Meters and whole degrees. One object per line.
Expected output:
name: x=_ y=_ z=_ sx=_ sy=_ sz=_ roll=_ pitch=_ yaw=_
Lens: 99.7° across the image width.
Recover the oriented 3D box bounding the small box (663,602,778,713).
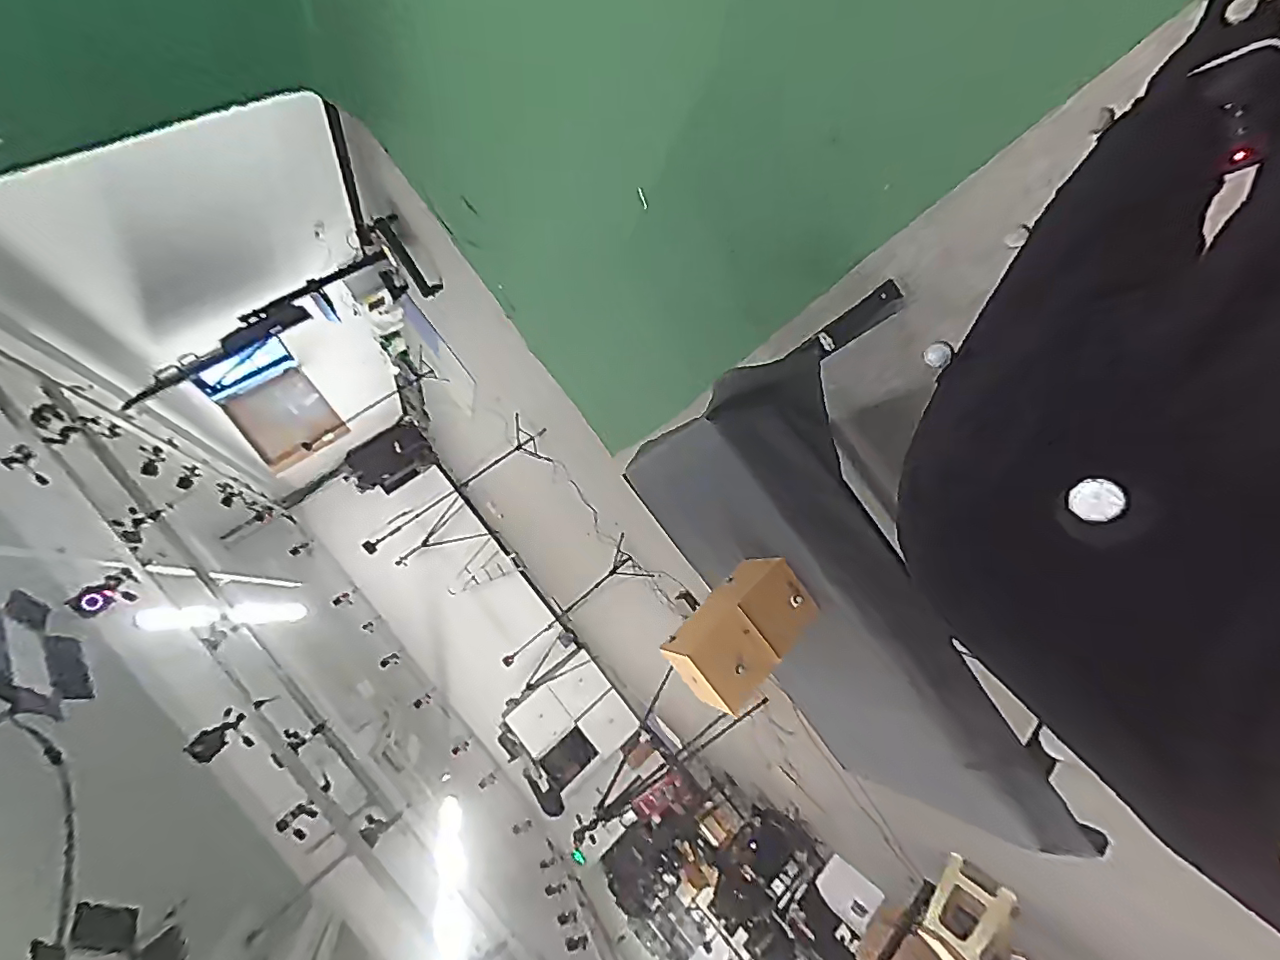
small box: x=0.189 y=0.395 z=1.239 sx=0.168 sy=0.176 sz=0.179 roll=52 pitch=159 yaw=-3

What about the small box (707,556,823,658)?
small box: x=0.302 y=0.300 z=1.307 sx=0.168 sy=0.176 sz=0.179 roll=52 pitch=157 yaw=-4
